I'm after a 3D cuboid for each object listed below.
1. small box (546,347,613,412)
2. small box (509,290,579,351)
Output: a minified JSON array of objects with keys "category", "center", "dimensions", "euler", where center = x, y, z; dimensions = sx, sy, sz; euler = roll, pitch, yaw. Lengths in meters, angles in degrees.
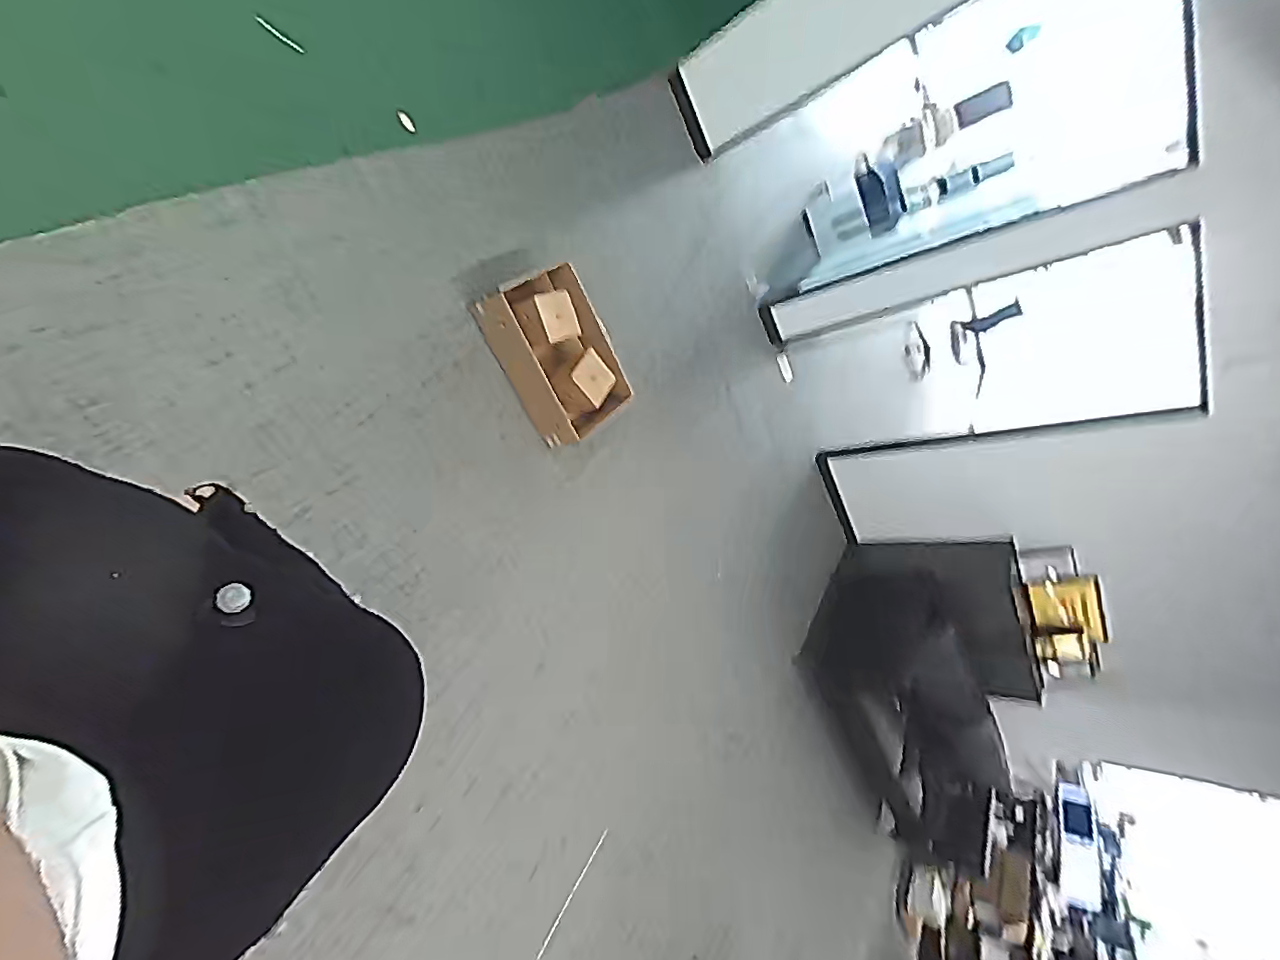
[{"category":"small box","center":[-0.245,-0.392,2.135],"dimensions":[0.168,0.176,0.179],"euler":[49,52,-32]},{"category":"small box","center":[-0.367,-0.597,2.027],"dimensions":[0.179,0.176,0.168],"euler":[-34,111,-46]}]
